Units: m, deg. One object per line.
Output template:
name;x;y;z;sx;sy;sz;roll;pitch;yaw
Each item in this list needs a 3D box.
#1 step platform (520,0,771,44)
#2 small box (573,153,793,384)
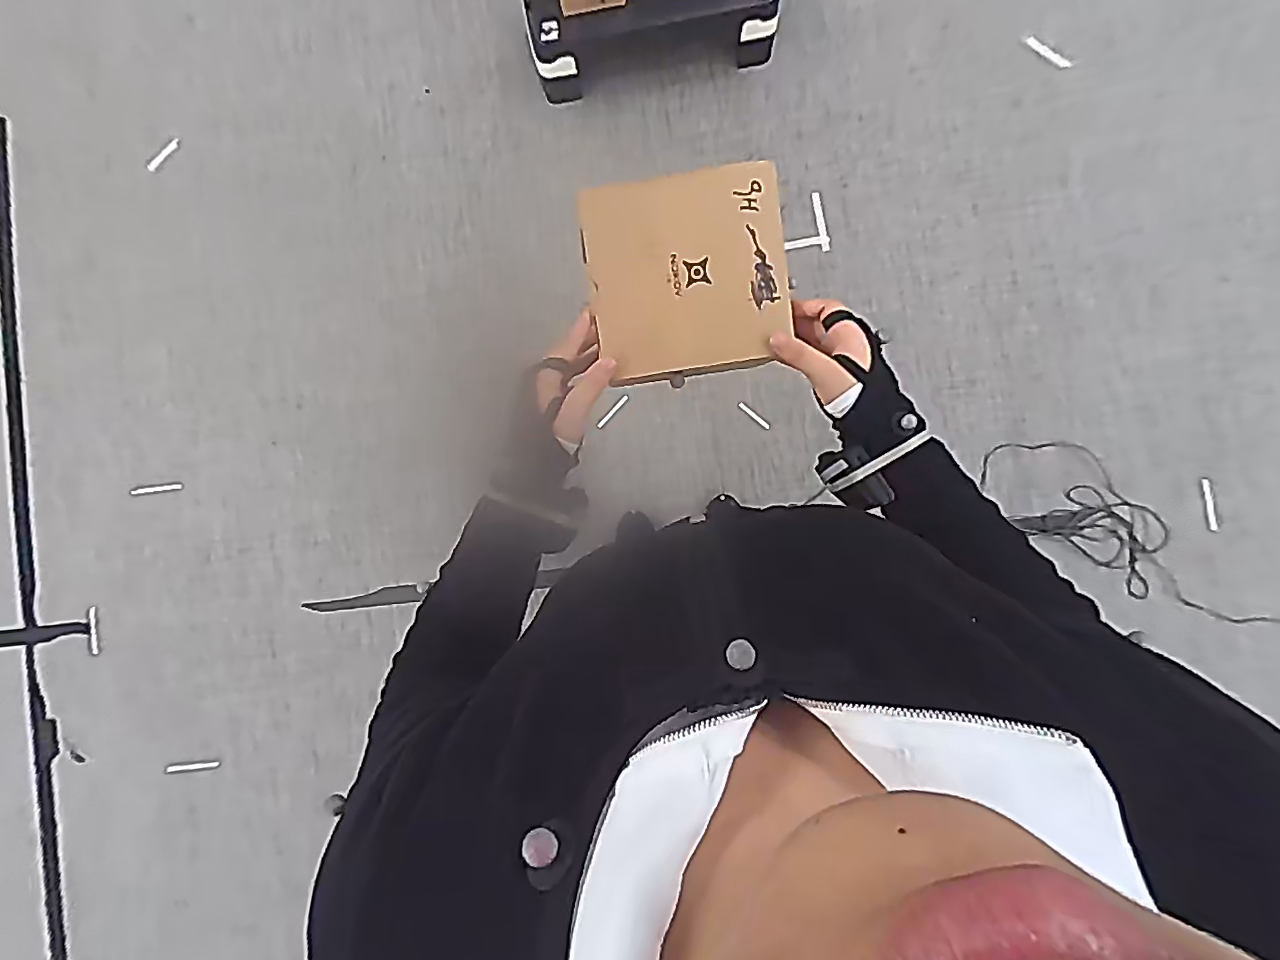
step platform;0.028;-1.281;1.272;0.684;0.204;0.286;-10;86;2
small box;0.039;-0.193;0.544;0.179;0.176;0.168;-8;97;1
